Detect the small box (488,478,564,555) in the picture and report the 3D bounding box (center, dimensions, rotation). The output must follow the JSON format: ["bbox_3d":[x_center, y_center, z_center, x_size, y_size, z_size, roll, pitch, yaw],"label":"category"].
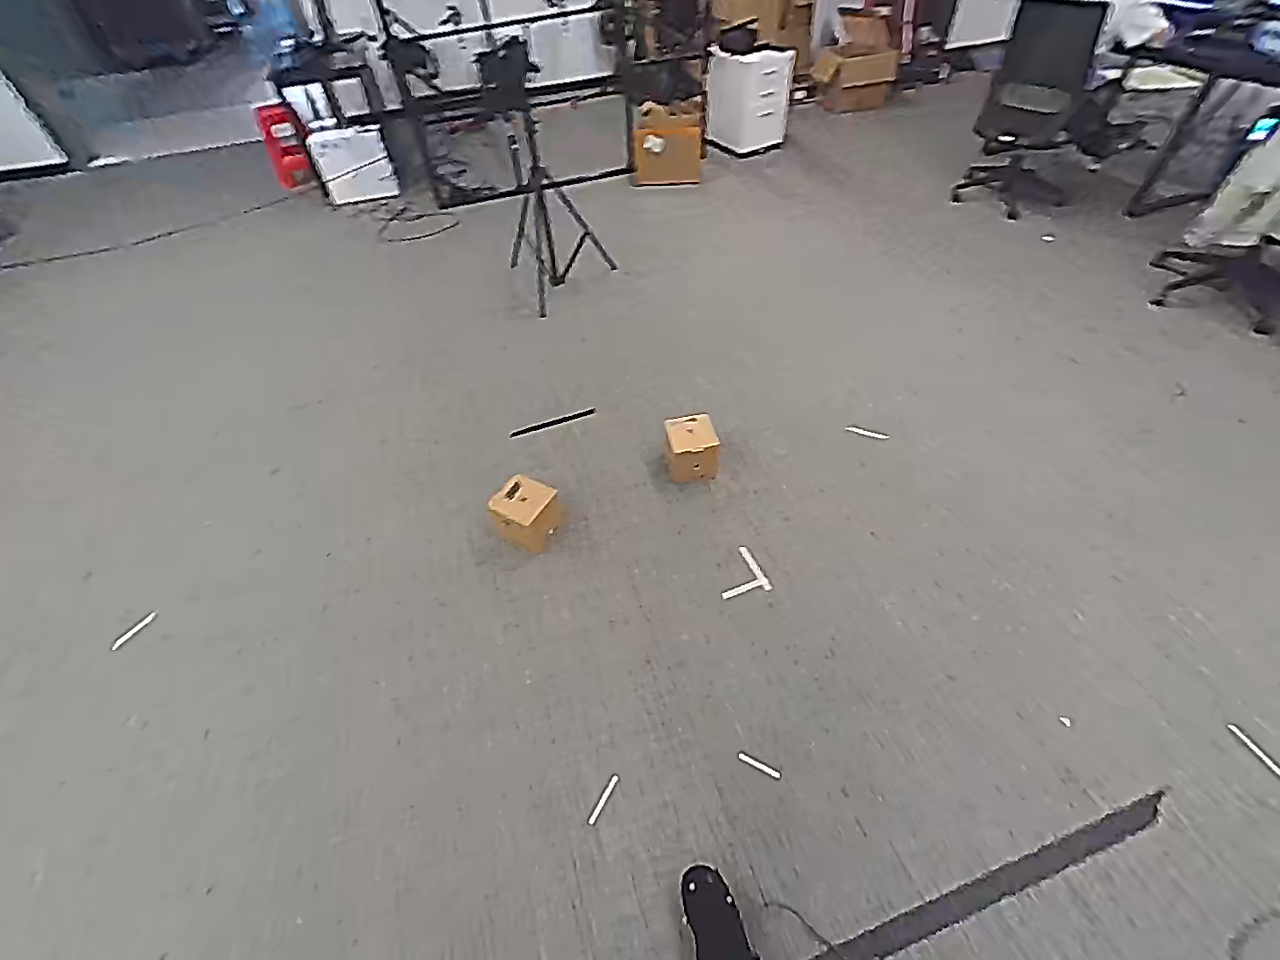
[{"bbox_3d":[-0.383,0.128,1.836,0.179,0.176,0.168,23,54,21],"label":"small box"}]

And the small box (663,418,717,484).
[{"bbox_3d":[0.184,-0.099,2.001,0.168,0.176,0.179,-10,49,-6],"label":"small box"}]
